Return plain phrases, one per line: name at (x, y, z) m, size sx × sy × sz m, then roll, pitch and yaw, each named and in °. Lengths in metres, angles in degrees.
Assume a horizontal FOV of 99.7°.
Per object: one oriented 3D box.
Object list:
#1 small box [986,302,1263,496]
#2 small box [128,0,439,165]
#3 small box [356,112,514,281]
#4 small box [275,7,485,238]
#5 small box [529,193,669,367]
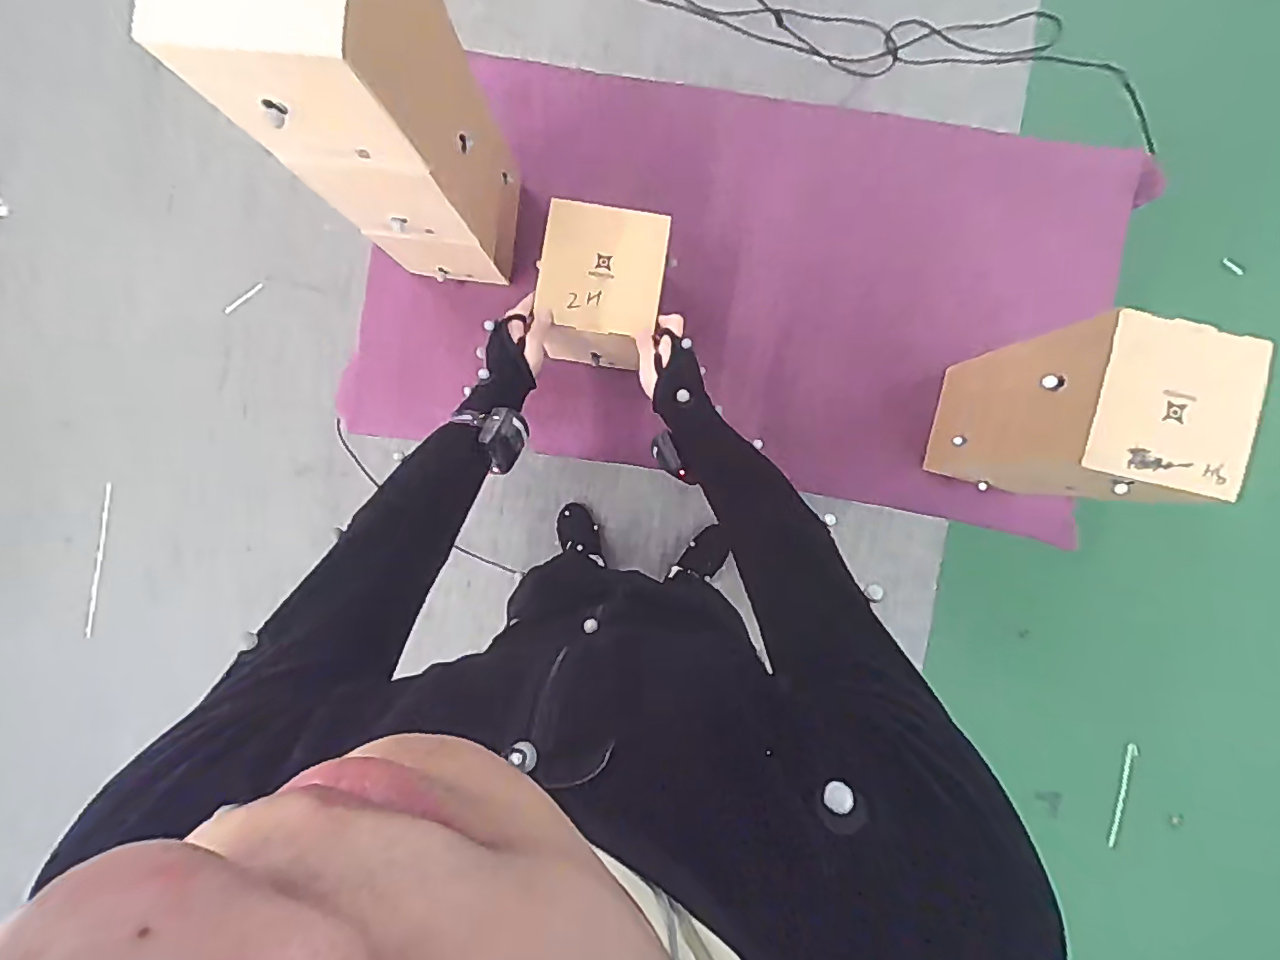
small box at (0.554, -0.085, 0.646) m, size 0.168 × 0.176 × 0.179 m, roll 14°, pitch 90°, yaw 1°
small box at (-0.296, -0.416, 0.486) m, size 0.168 × 0.176 × 0.179 m, roll 6°, pitch 91°, yaw 1°
small box at (-0.294, -0.422, 0.811) m, size 0.168 × 0.176 × 0.179 m, roll 7°, pitch 92°, yaw 1°
small box at (-0.294, -0.419, 0.648) m, size 0.168 × 0.176 × 0.179 m, roll 6°, pitch 92°, yaw 1°
small box at (-0.057, -0.284, 0.801) m, size 0.168 × 0.176 × 0.179 m, roll 9°, pitch 87°, yaw 0°
